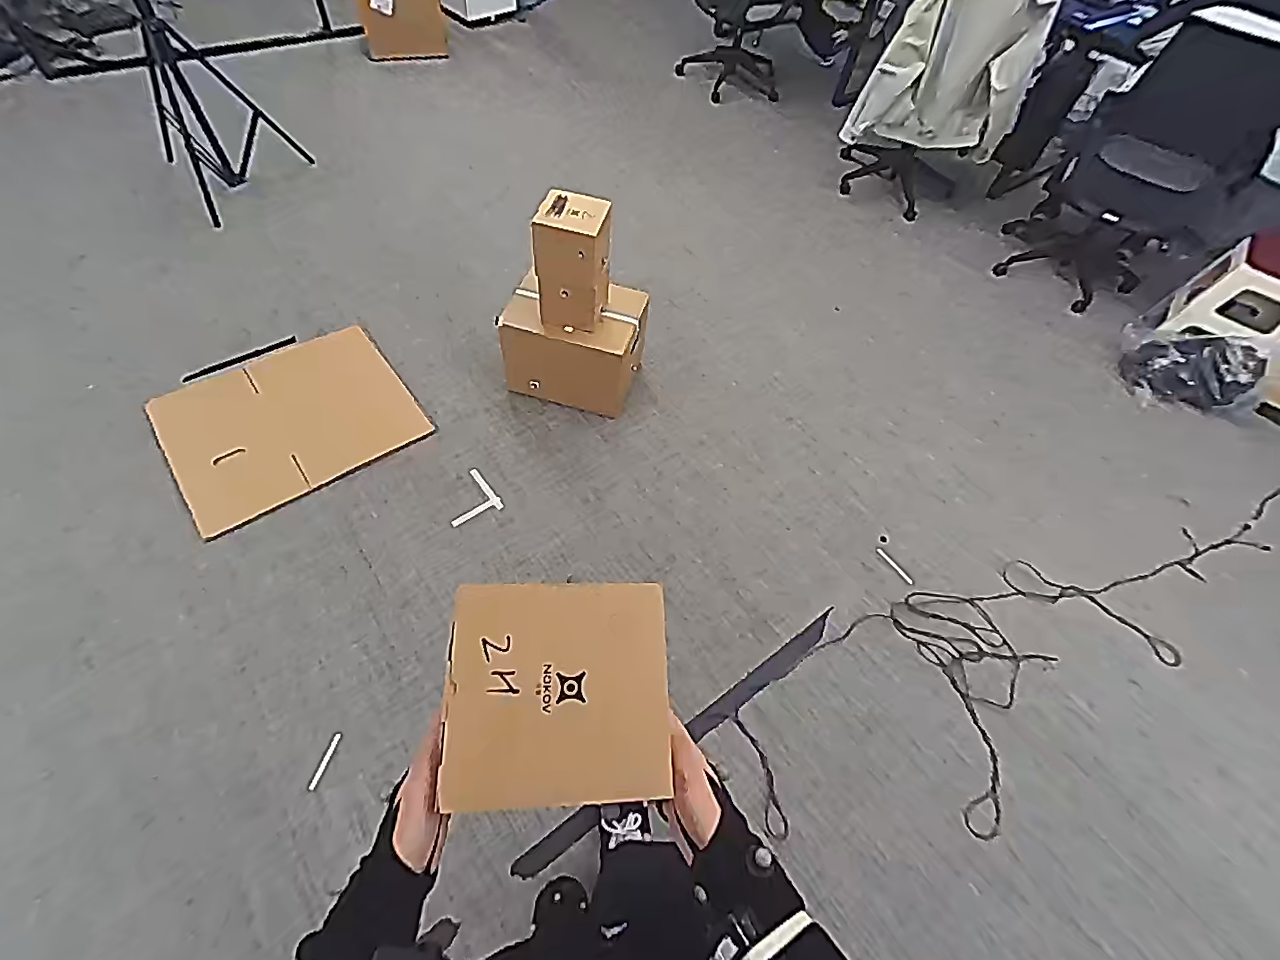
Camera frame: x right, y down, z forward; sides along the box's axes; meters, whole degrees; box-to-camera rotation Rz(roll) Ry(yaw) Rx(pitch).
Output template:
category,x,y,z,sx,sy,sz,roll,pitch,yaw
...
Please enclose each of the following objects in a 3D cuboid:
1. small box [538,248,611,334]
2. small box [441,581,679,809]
category,x,y,z,sx,sy,sz,roll,pitch,yaw
small box,-0.196,-0.569,1.640,0.179,0.176,0.168,14,58,2
small box,-0.071,0.193,0.498,0.179,0.176,0.168,2,66,-9
